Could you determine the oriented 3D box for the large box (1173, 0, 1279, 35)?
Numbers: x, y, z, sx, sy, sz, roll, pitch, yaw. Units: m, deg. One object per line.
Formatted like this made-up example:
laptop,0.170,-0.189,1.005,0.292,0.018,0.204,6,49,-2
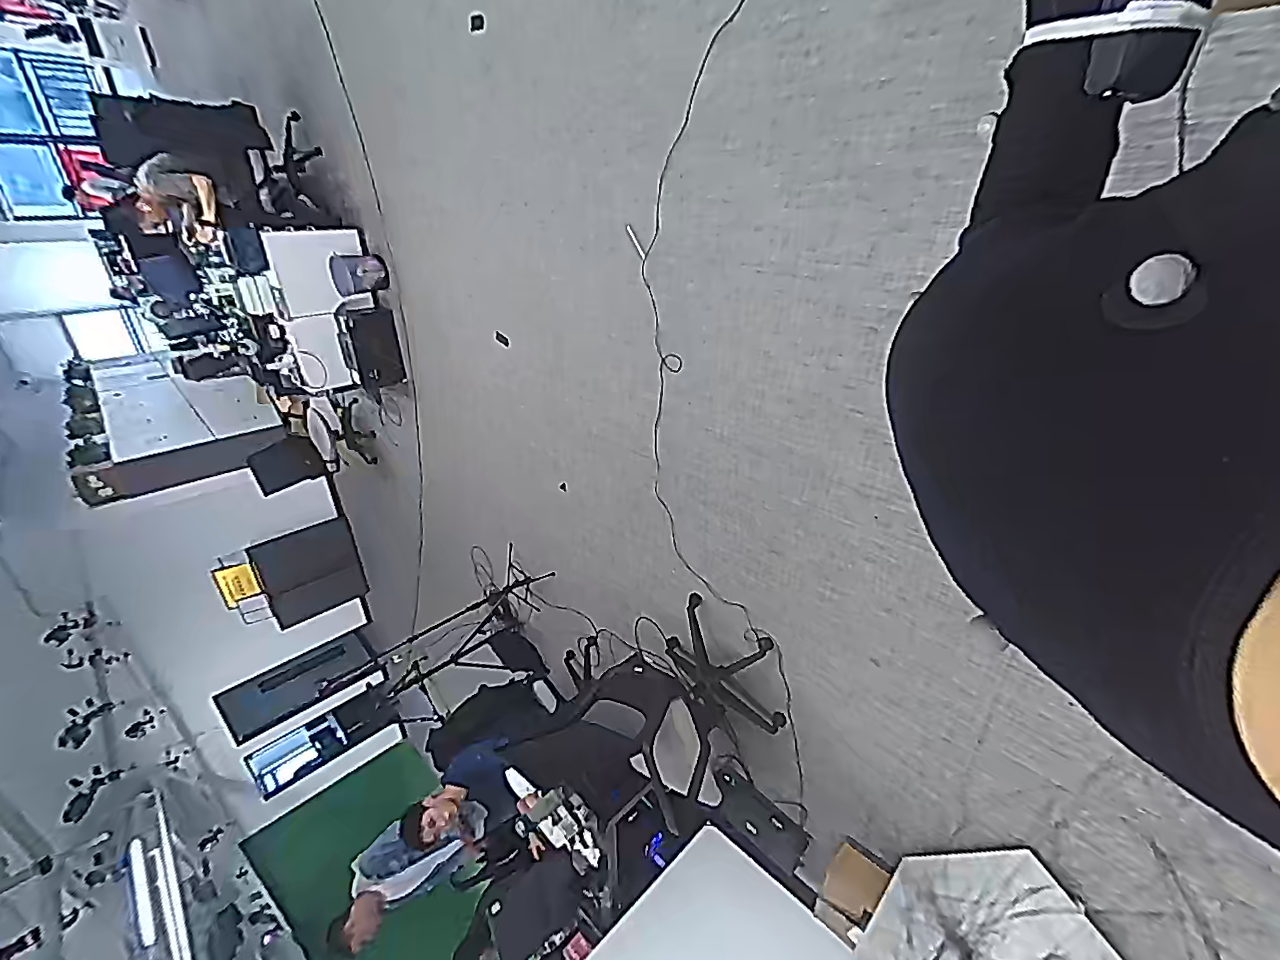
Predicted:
large box,0.539,-0.435,0.219,0.408,0.320,0.320,22,129,38
